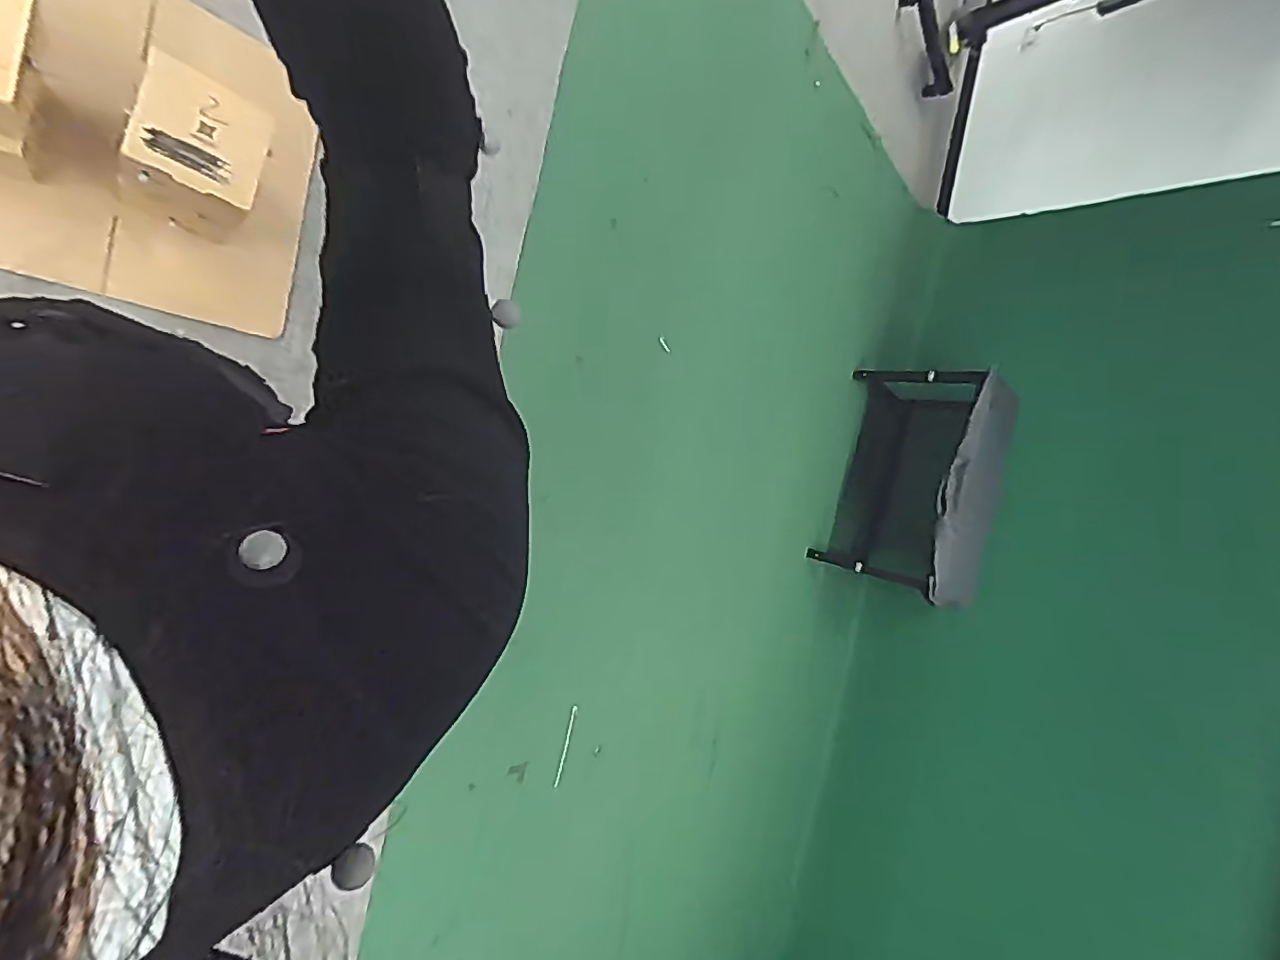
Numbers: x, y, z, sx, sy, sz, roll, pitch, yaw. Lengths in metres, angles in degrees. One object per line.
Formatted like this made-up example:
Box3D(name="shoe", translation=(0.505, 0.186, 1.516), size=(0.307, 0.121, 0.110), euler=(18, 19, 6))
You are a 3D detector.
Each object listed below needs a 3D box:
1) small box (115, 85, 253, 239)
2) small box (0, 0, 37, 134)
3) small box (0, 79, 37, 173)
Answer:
Box3D(name="small box", translation=(-0.879, -0.595, 1.040), size=(0.168, 0.176, 0.179), euler=(17, 87, -44))
Box3D(name="small box", translation=(-0.950, -0.616, 0.728), size=(0.168, 0.176, 0.179), euler=(11, 90, -46))
Box3D(name="small box", translation=(-1.072, -0.613, 0.839), size=(0.168, 0.176, 0.179), euler=(7, 93, -45))
